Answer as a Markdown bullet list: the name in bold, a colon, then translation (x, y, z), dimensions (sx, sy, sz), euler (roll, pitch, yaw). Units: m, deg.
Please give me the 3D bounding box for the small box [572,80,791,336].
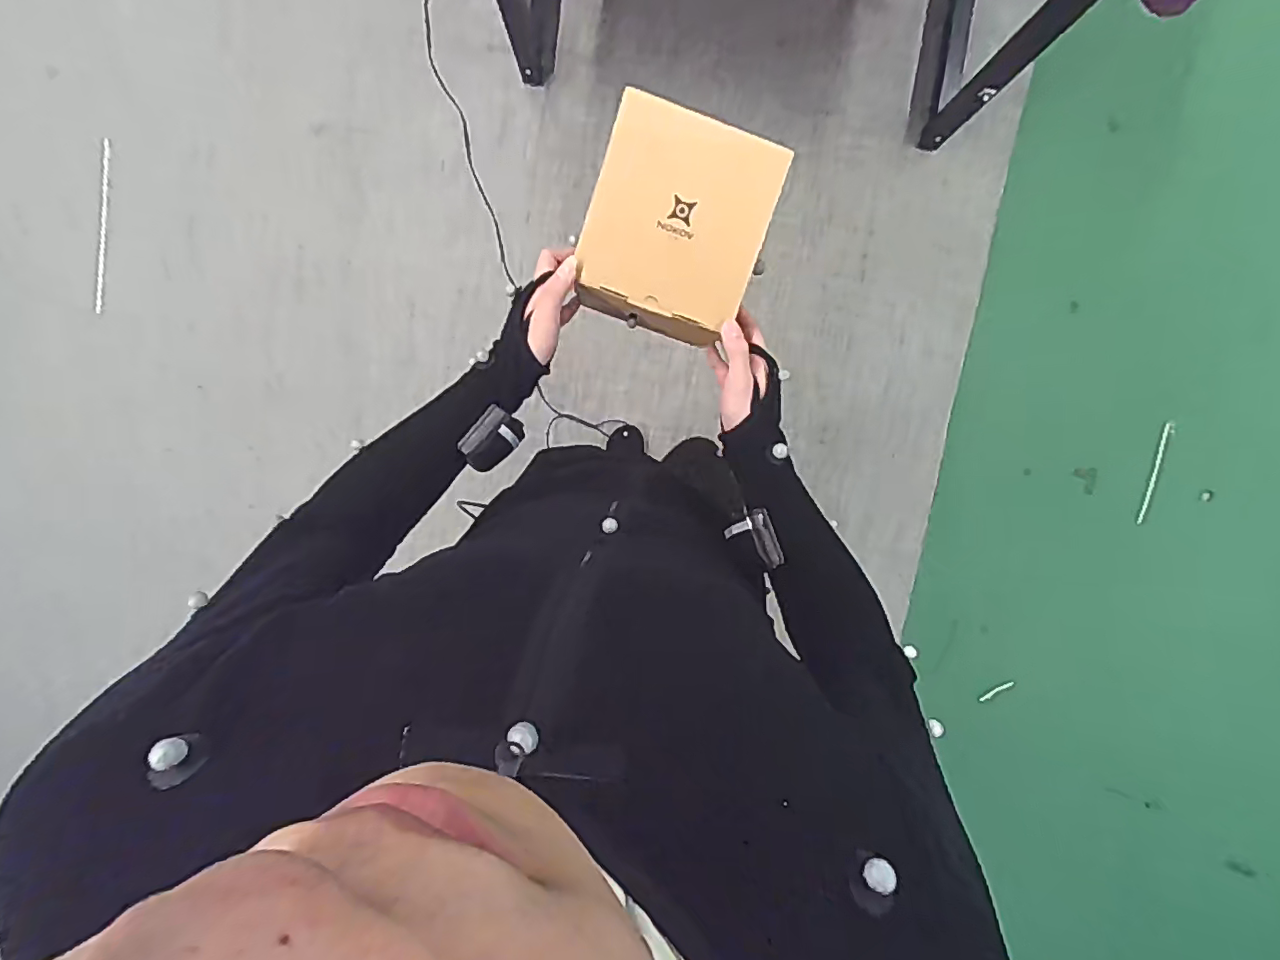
- **small box**: translation (0.033, -0.267, 0.581), dimensions (0.168, 0.176, 0.179), euler (18, 100, -6)
